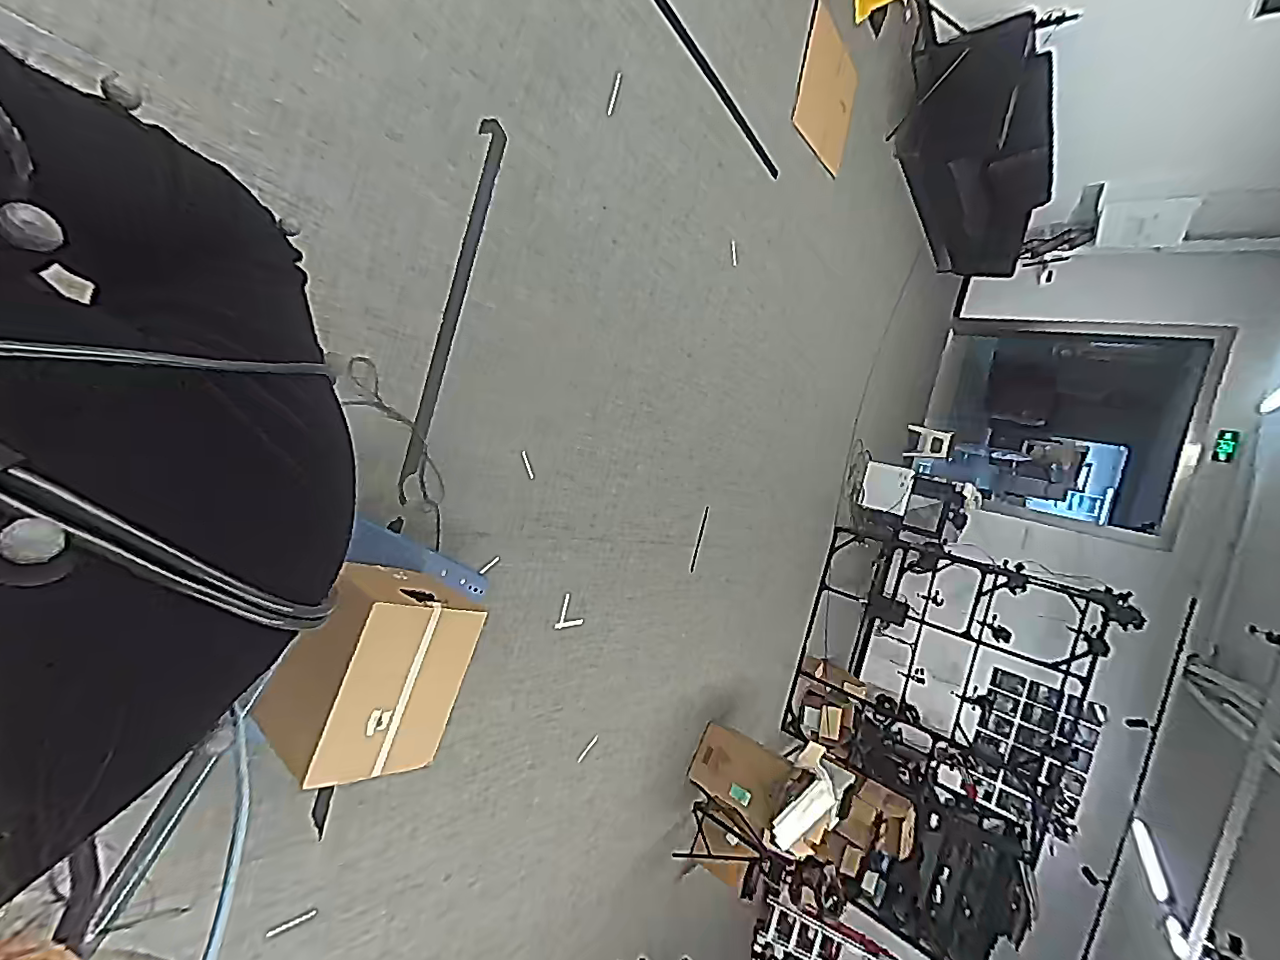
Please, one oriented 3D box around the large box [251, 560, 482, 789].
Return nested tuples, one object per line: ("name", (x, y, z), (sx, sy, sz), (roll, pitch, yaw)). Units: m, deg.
("large box", (-0.656, 0.444, 1.313), (0.320, 0.320, 0.408), (26, 82, -52))
